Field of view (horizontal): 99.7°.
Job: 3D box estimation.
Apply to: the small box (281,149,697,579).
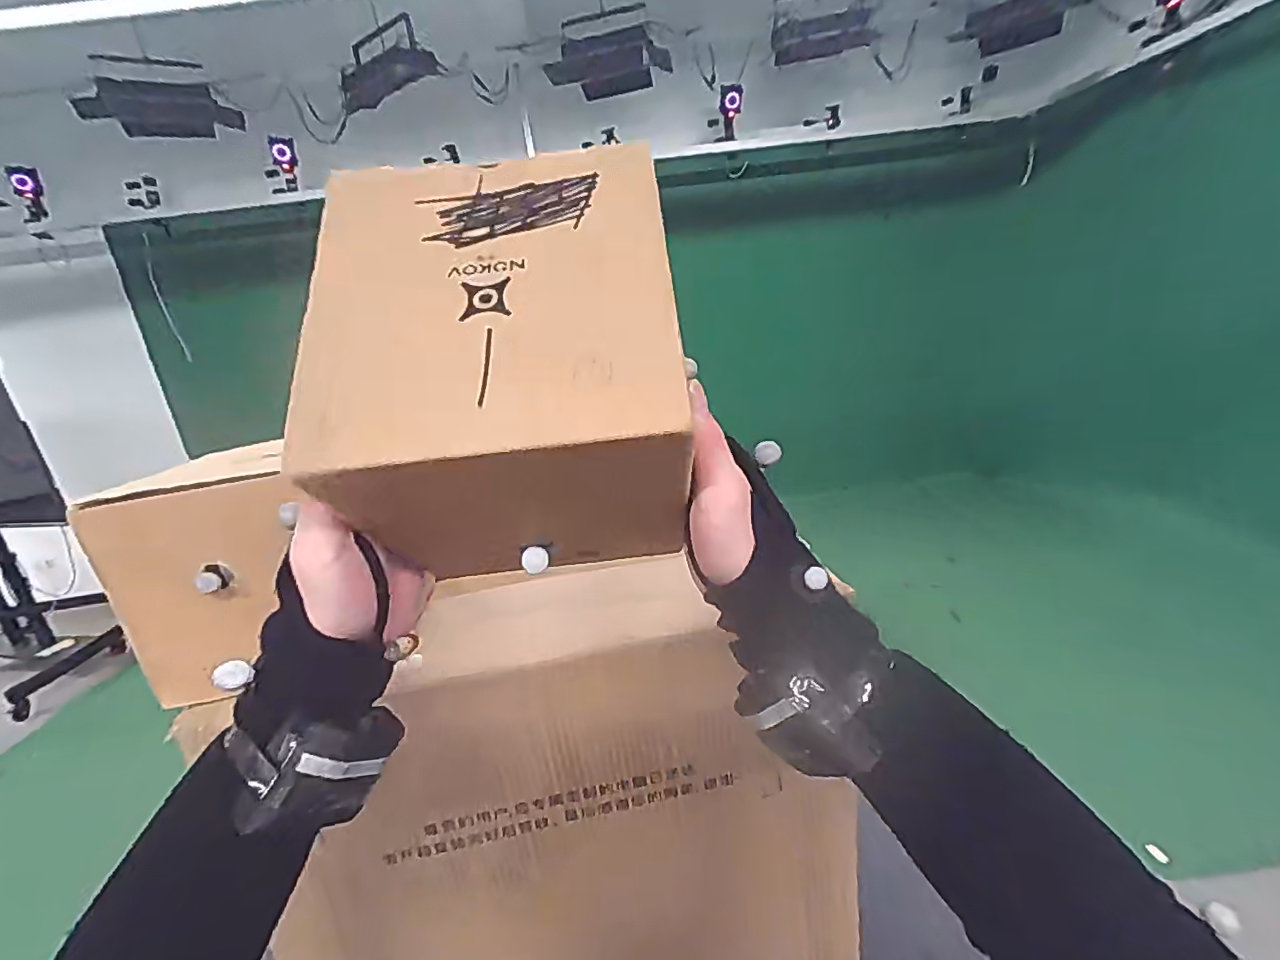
[{"bbox_3d":[-0.064,-0.052,0.316,0.168,0.179,0.176,-6,-22,0],"label":"small box"}]
